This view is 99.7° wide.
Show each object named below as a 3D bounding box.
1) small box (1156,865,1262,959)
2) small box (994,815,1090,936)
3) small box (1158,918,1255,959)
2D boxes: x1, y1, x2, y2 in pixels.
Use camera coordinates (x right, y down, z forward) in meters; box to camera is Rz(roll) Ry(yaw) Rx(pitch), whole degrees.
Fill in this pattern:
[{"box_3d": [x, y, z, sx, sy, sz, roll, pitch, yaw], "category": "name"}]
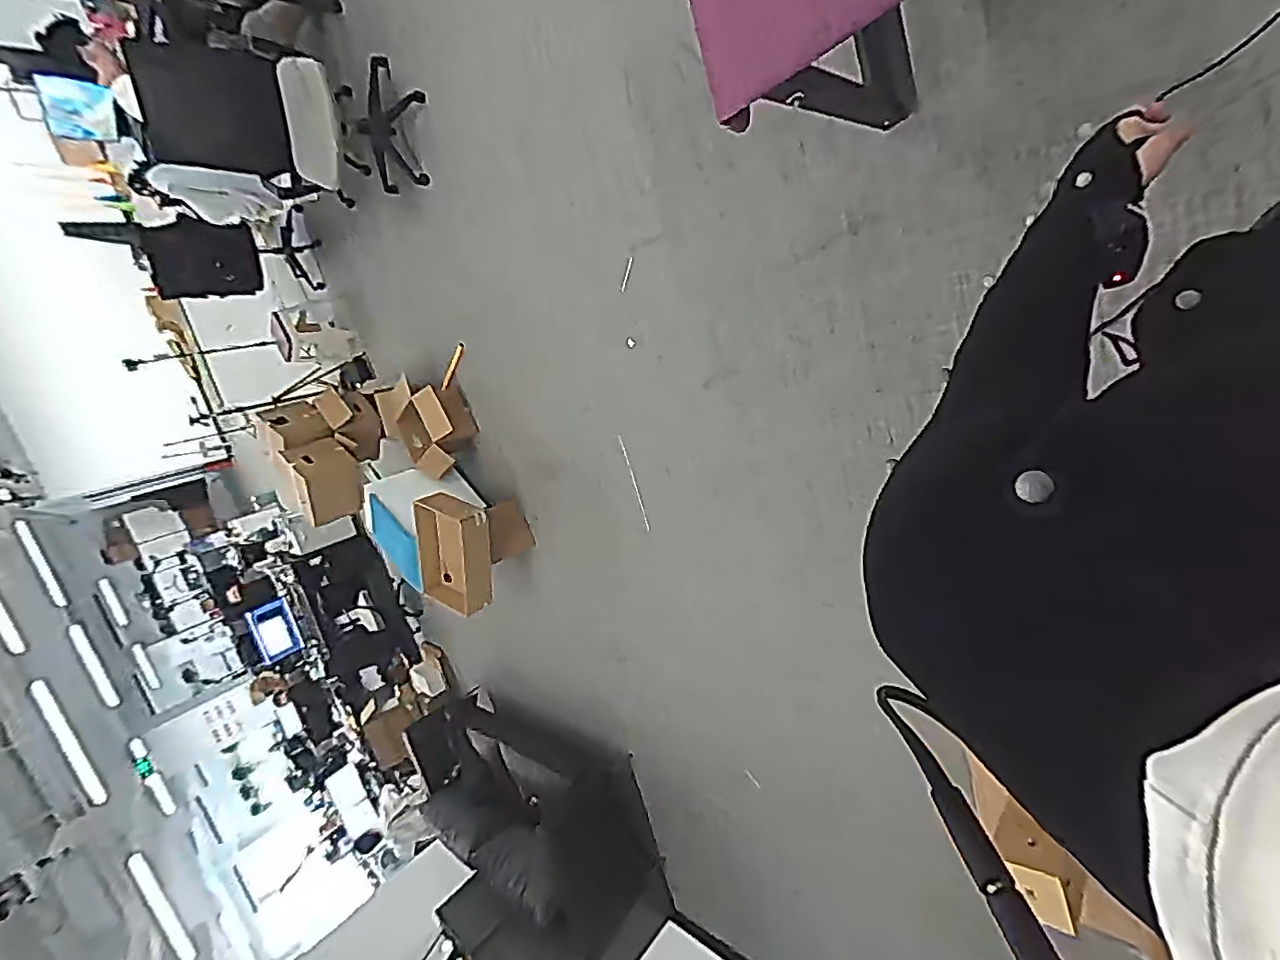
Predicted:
[{"box_3d": [1.469, 1.157, 1.394, 0.168, 0.176, 0.179, -14, 98, 49], "category": "small box"}, {"box_3d": [1.100, 1.065, 1.477, 0.168, 0.176, 0.179, -12, 100, 50], "category": "small box"}, {"box_3d": [1.357, 1.210, 1.288, 0.168, 0.176, 0.179, -9, 103, 48], "category": "small box"}]
